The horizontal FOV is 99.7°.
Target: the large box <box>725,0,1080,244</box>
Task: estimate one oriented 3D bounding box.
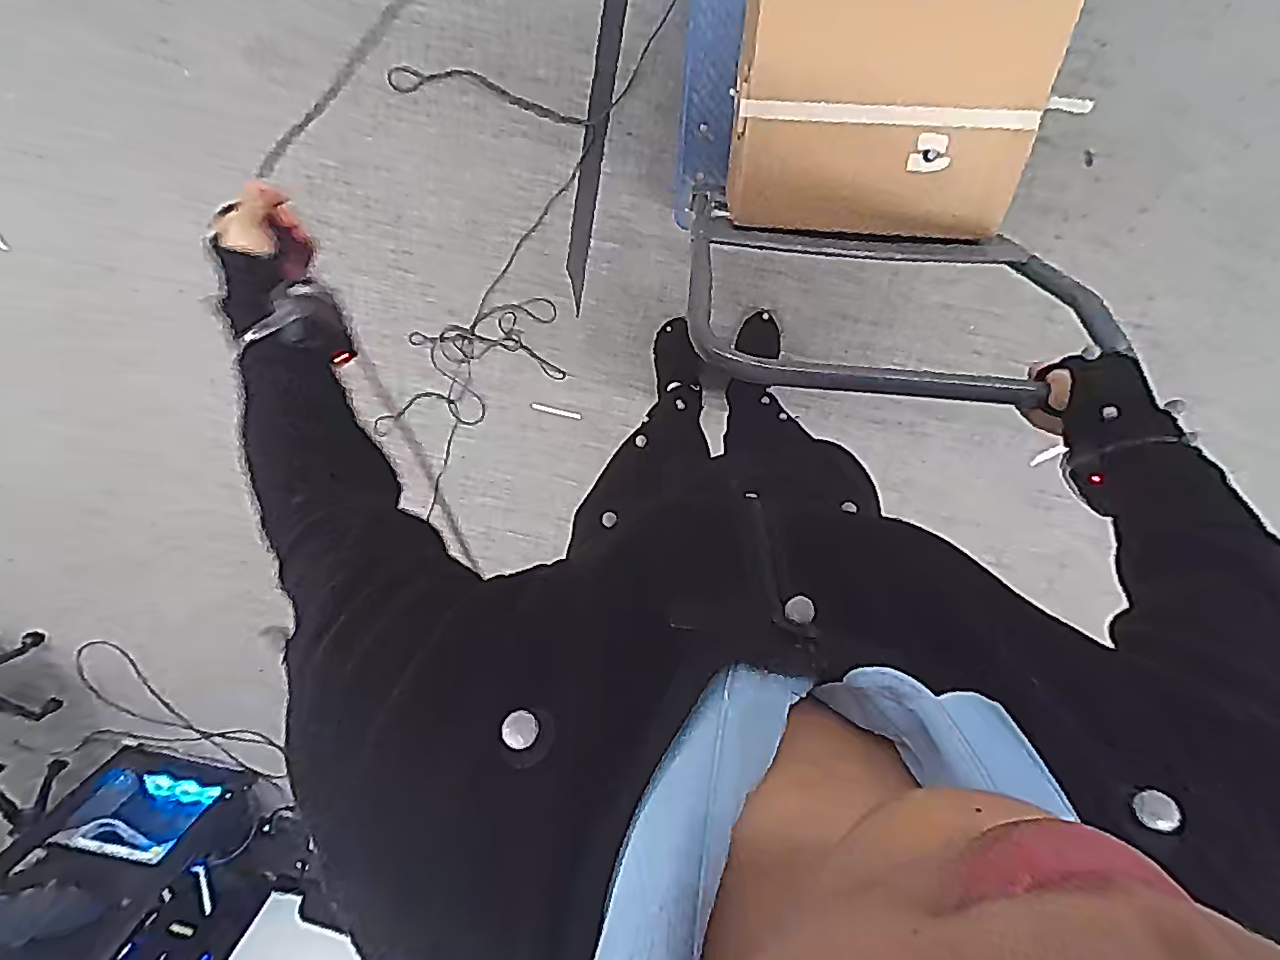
[{"bbox_3d":[0.360,-0.586,0.882,0.408,0.320,0.320,4,125,2],"label":"large box"}]
